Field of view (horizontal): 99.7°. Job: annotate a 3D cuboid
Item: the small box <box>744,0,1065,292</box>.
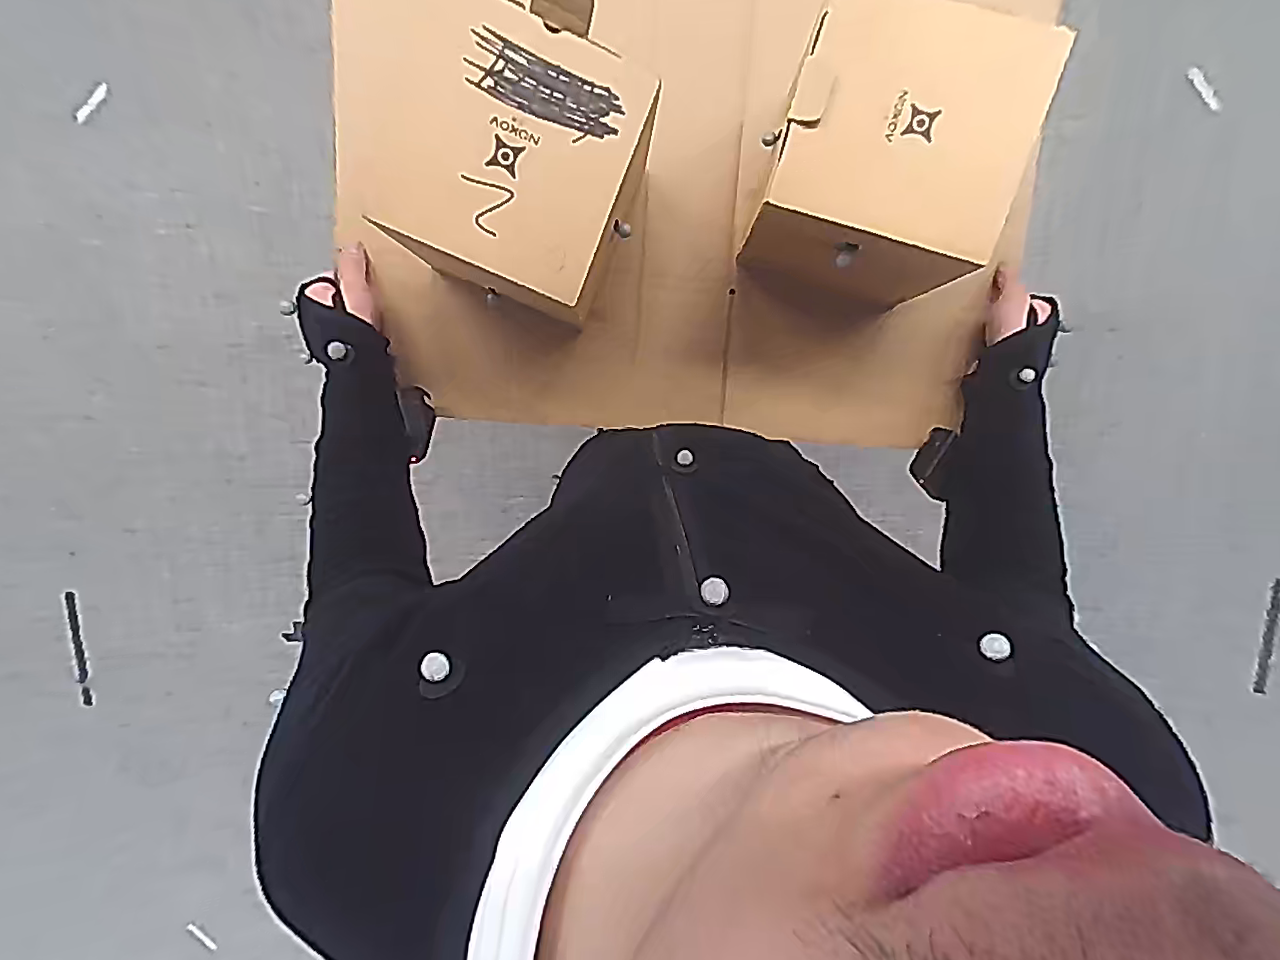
[{"bbox_3d":[0.207,-0.280,0.482,0.179,0.176,0.168,17,99,2],"label":"small box"}]
